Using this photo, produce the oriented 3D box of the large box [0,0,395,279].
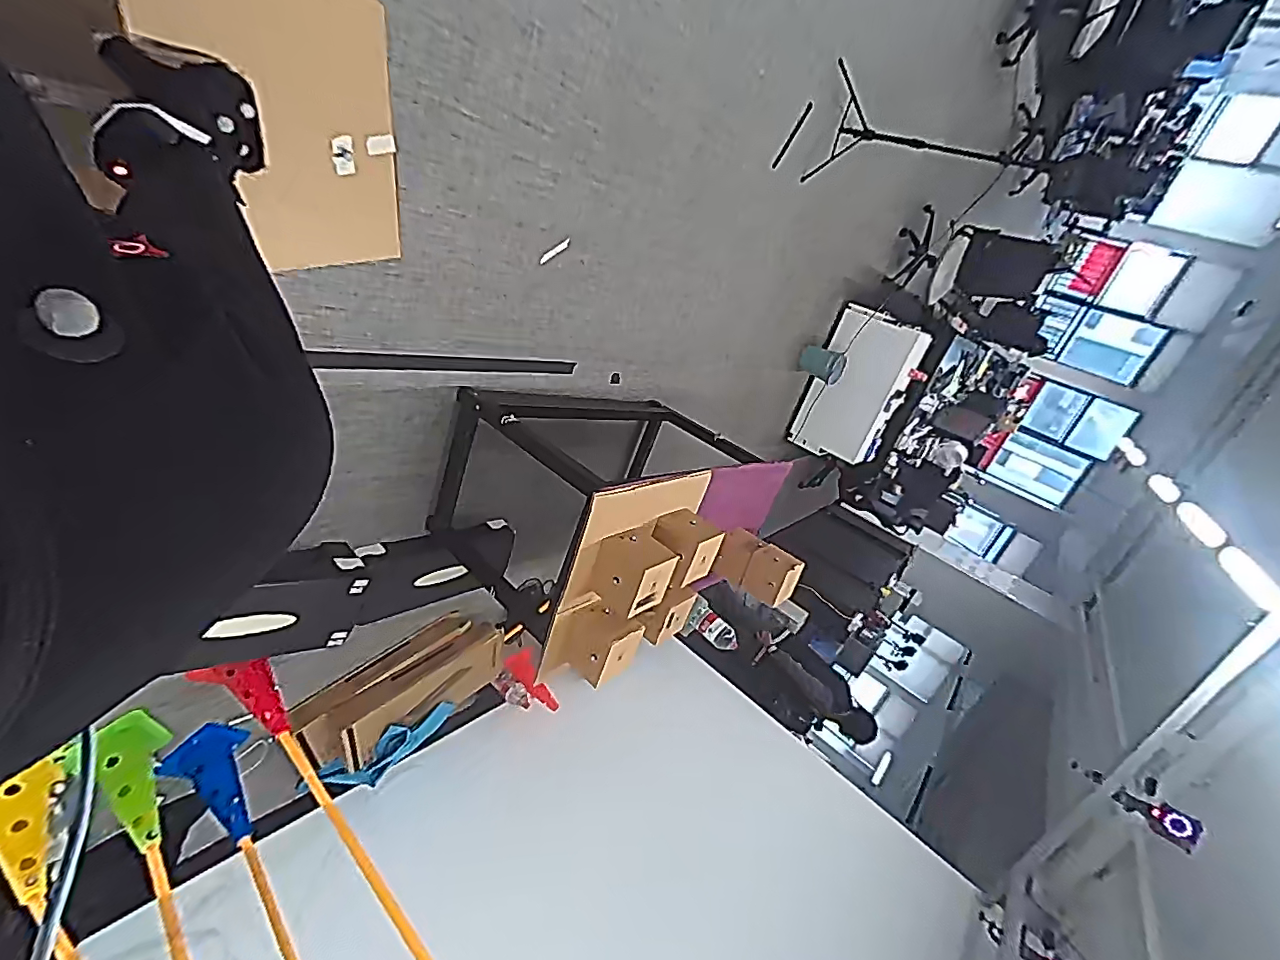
[{"bbox_3d":[-0.594,-0.471,0.697,0.320,0.408,0.320,-46,151,-56],"label":"large box"}]
